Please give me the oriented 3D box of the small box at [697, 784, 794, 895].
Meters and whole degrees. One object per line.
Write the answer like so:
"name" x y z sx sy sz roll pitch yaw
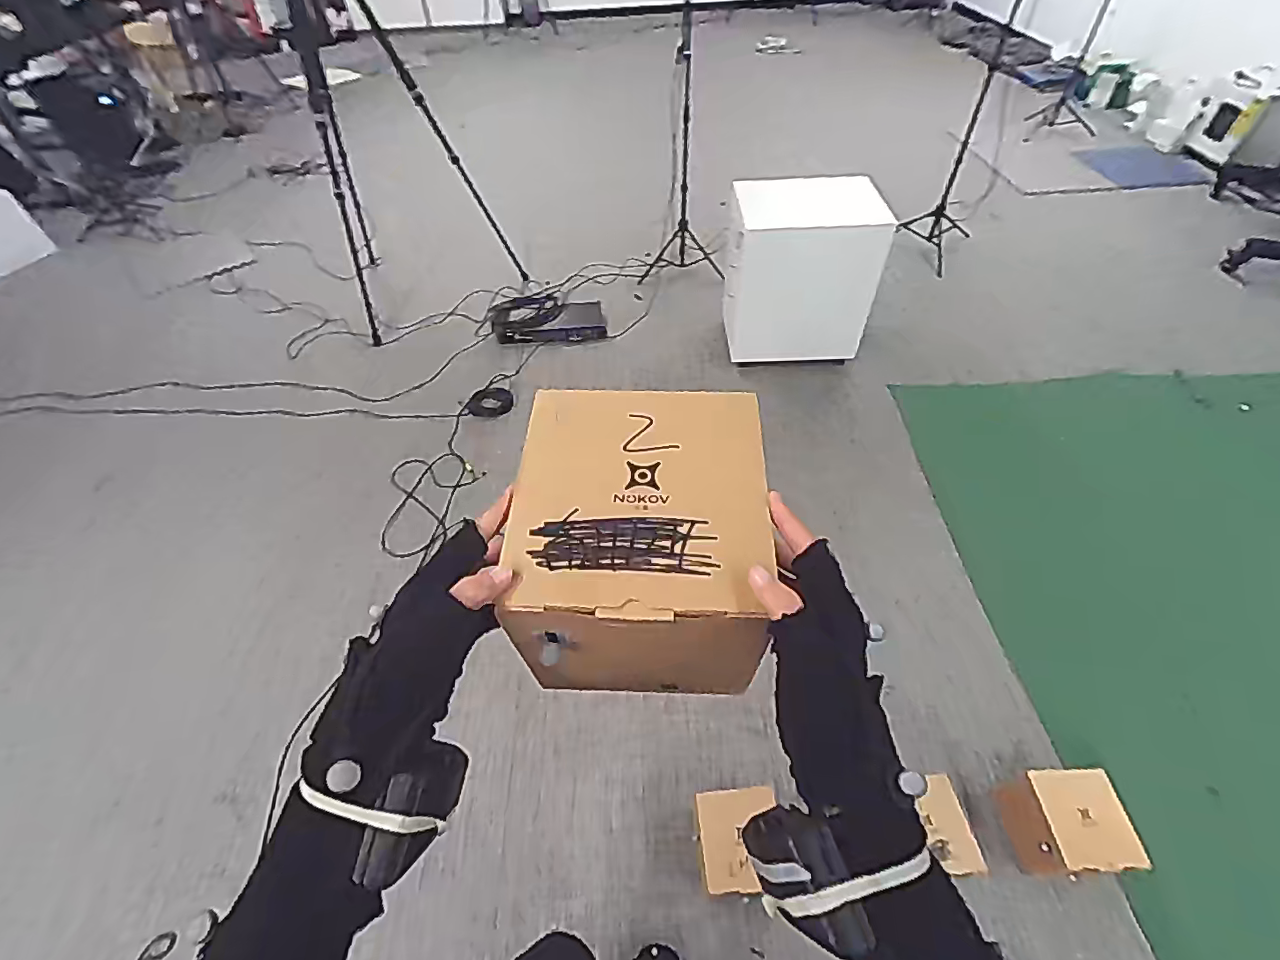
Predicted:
"small box" 0.215 0.771 1.157 0.168 0.176 0.179 -5 51 0

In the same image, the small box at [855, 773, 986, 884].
"small box" 0.589 0.752 1.162 0.168 0.176 0.179 -6 50 -3

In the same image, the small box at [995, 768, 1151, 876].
"small box" 0.913 0.737 1.164 0.168 0.176 0.179 -2 51 1
